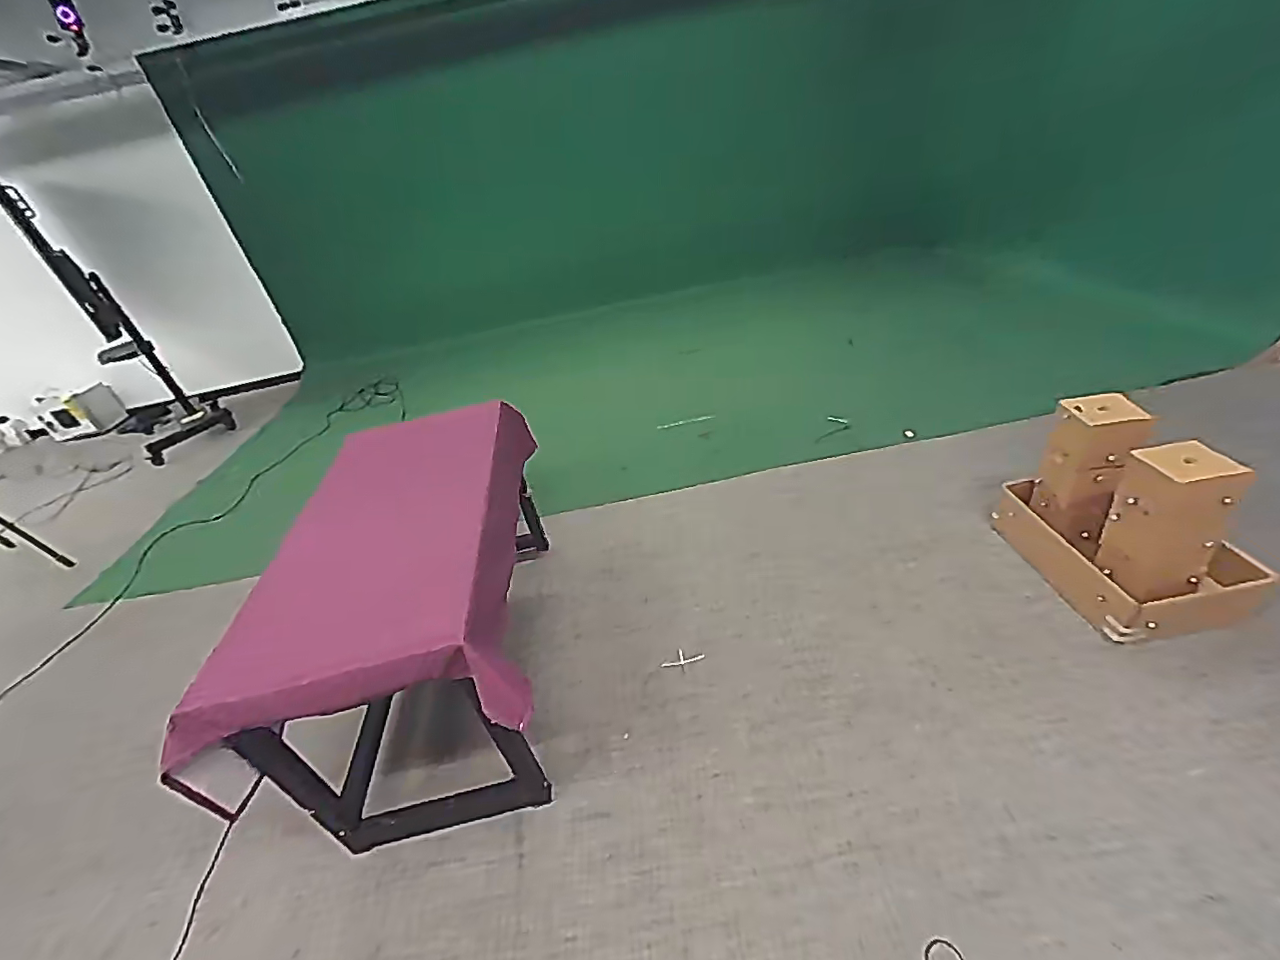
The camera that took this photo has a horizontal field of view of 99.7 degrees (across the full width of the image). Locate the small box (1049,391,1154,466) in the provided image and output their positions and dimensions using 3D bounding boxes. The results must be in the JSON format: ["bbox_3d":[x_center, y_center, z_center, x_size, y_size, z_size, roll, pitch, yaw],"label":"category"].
[{"bbox_3d":[1.446,-0.163,1.708,0.179,0.176,0.168,-6,34,7],"label":"small box"}]

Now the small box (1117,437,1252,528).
[{"bbox_3d":[1.459,0.009,1.464,0.179,0.176,0.168,-10,33,4],"label":"small box"}]

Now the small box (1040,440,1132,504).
[{"bbox_3d":[1.478,-0.035,1.808,0.179,0.176,0.168,-7,35,6],"label":"small box"}]
